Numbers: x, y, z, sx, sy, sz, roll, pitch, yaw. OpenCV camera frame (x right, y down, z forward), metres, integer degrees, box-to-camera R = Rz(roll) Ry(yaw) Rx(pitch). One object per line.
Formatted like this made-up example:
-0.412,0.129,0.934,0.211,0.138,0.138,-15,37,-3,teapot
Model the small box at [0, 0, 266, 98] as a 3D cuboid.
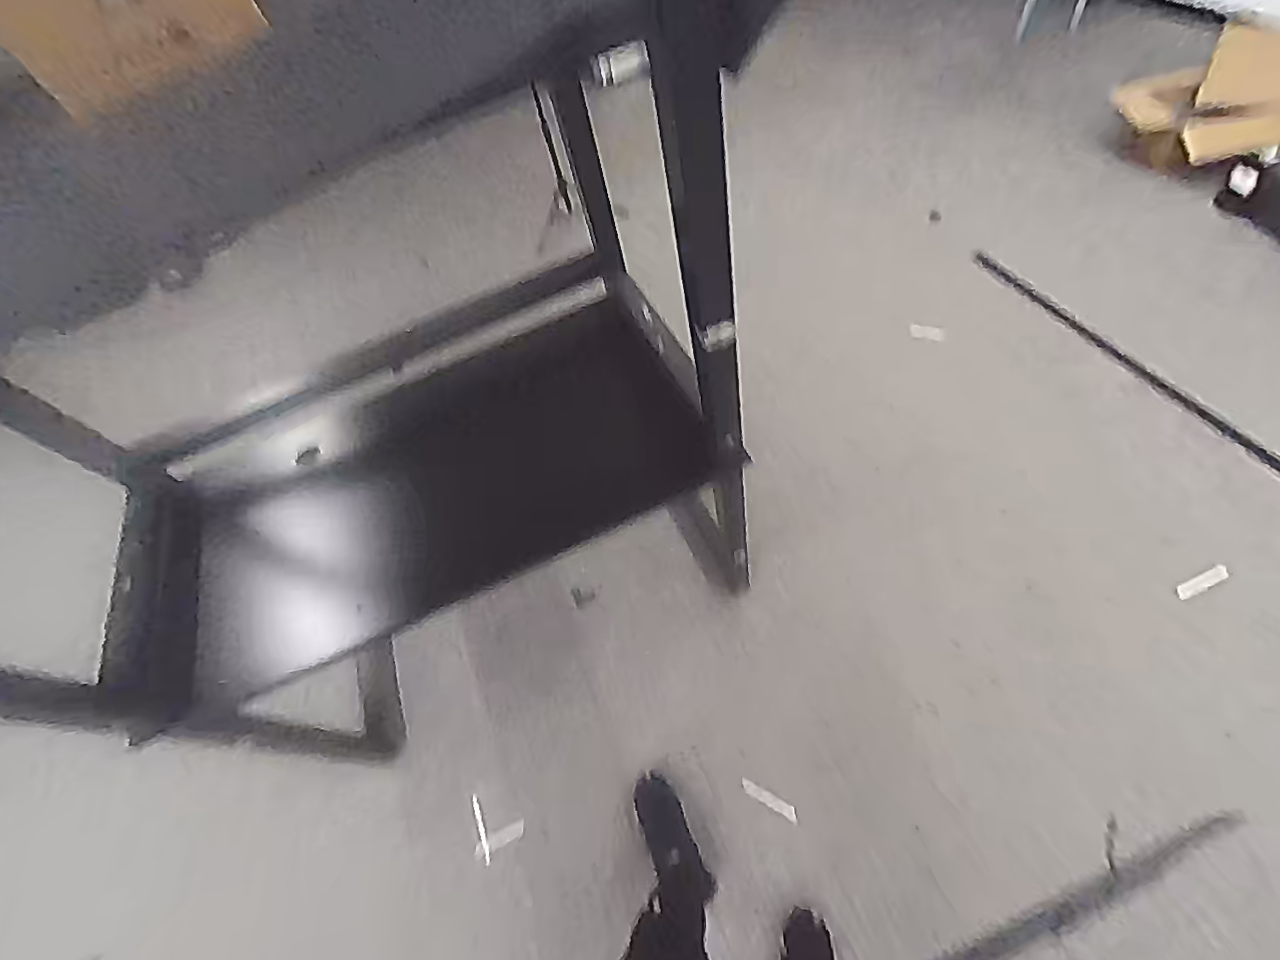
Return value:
-0.422,-0.423,0.401,0.168,0.176,0.179,-32,58,-8,small box
